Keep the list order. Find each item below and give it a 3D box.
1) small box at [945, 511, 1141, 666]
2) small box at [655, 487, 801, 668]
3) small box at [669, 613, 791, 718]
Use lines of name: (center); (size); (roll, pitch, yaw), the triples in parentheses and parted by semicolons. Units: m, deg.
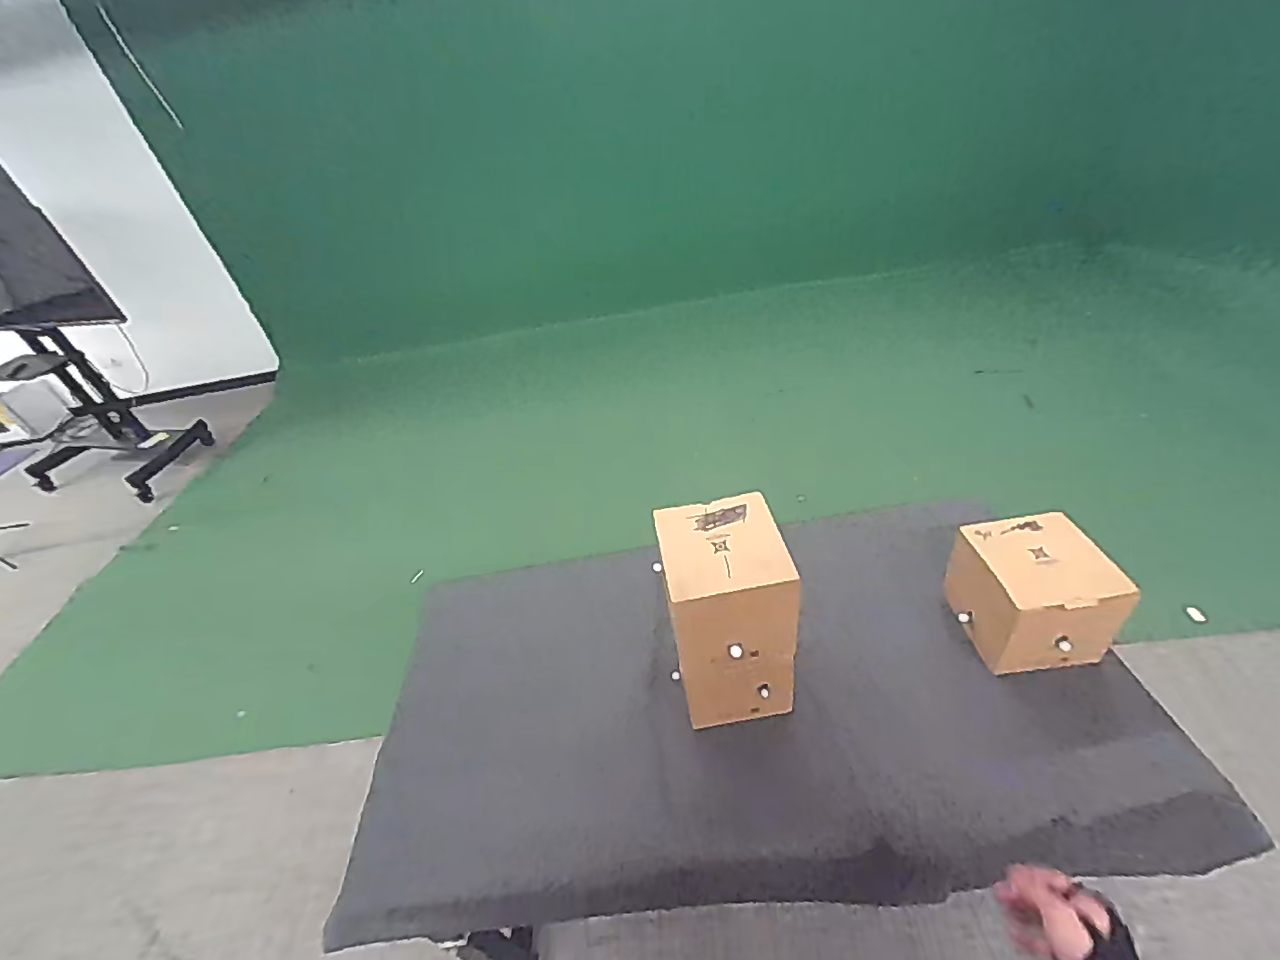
small box: (0.618, 0.178, 0.859); (0.168, 0.176, 0.179); (-8, 39, 4)
small box: (0.118, 0.138, 0.774); (0.168, 0.176, 0.179); (-10, 39, 0)
small box: (0.139, 0.264, 0.877); (0.168, 0.176, 0.179); (-9, 37, 0)
